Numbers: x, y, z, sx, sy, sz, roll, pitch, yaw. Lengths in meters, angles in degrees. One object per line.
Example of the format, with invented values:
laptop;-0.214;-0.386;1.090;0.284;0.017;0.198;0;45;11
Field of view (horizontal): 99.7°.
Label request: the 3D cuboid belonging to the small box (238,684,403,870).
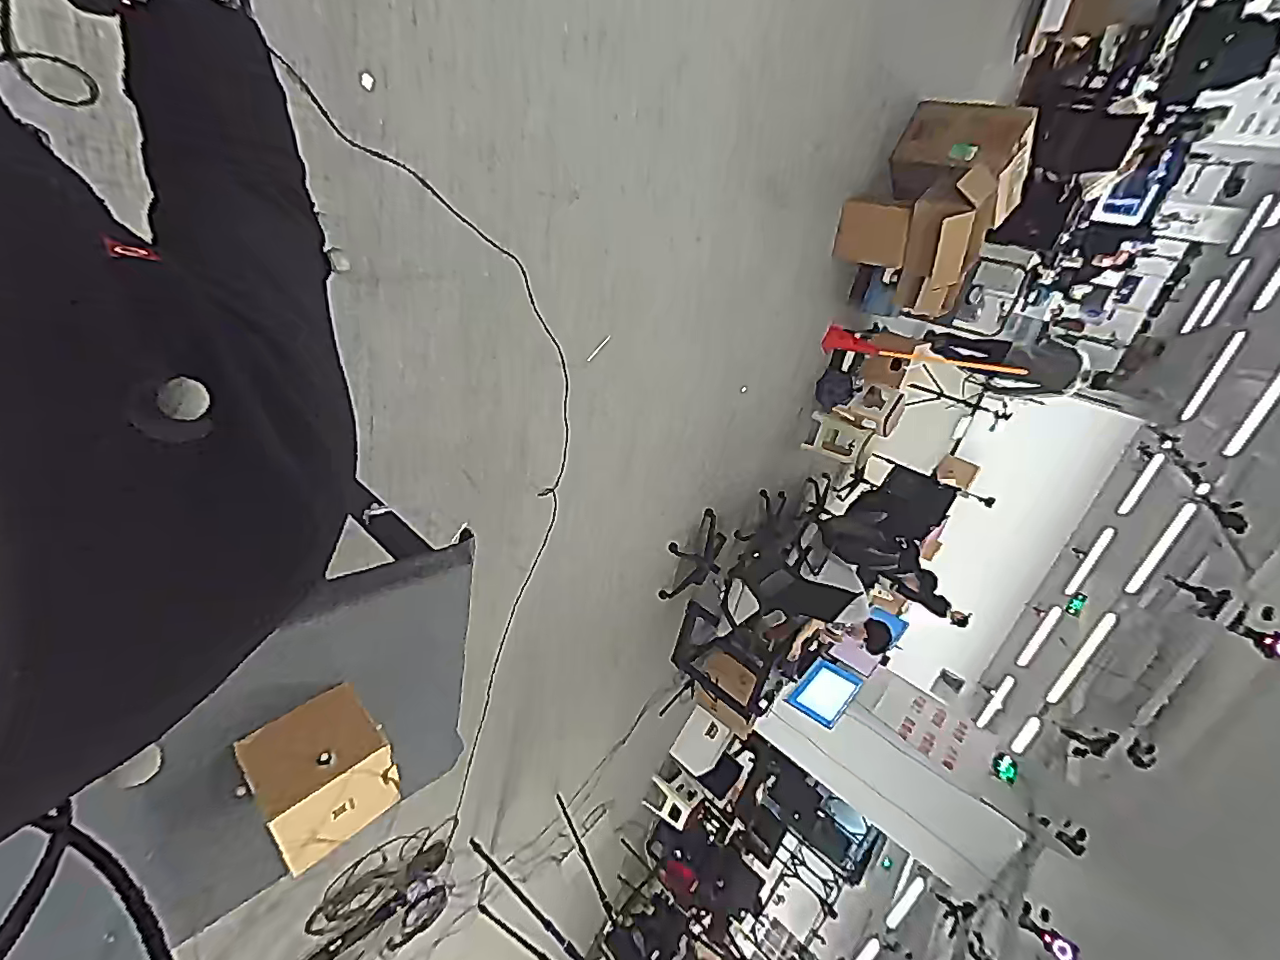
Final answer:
small box;-0.529;0.484;0.906;0.179;0.176;0.168;-25;133;-41
